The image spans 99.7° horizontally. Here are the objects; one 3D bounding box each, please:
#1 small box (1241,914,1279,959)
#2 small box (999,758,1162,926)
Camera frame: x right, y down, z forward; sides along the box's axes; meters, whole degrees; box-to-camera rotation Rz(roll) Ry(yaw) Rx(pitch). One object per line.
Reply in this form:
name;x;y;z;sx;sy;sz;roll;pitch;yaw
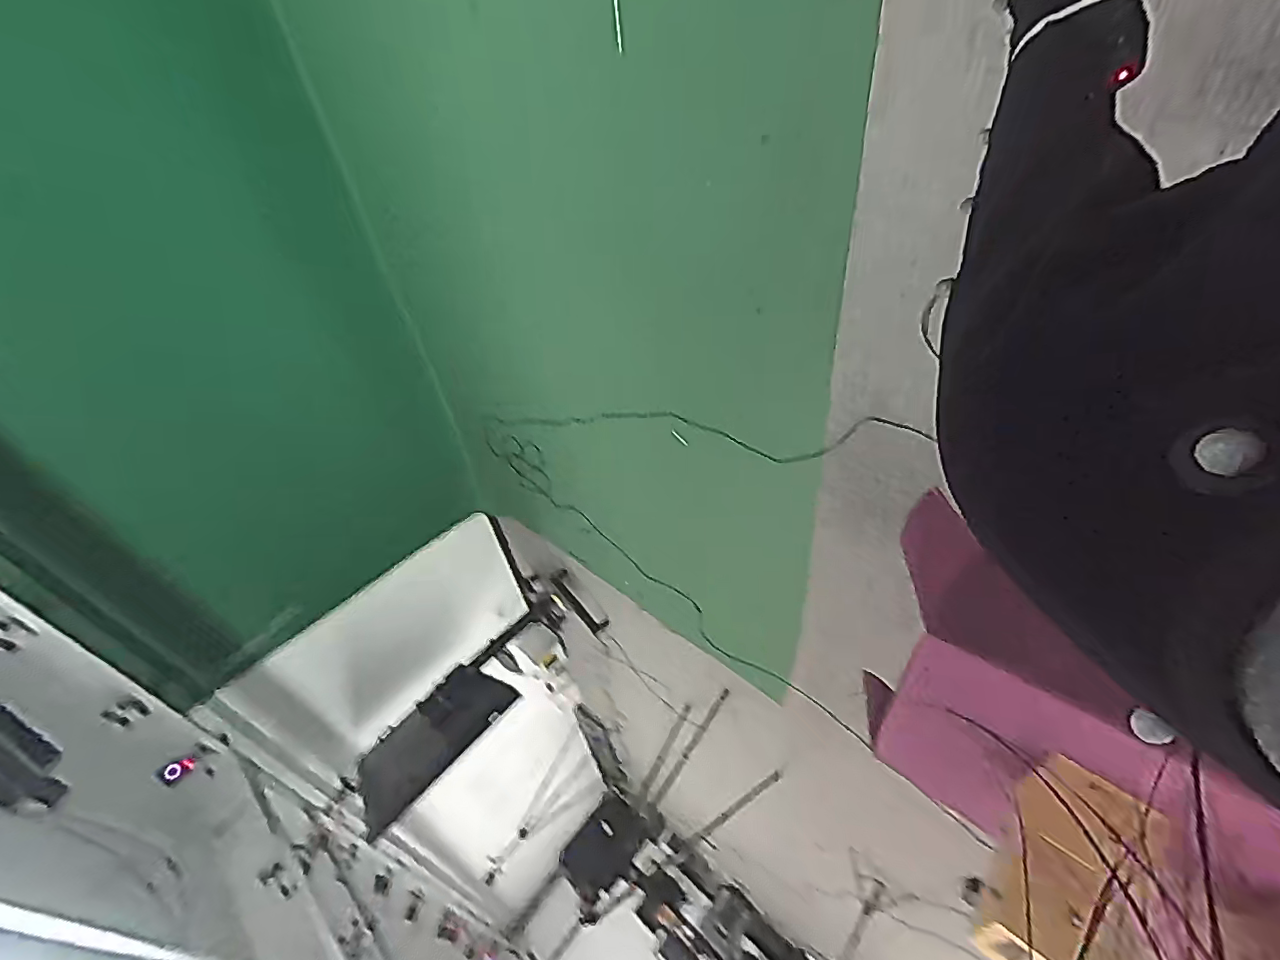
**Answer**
small box;1.036;0.774;0.789;0.179;0.176;0.168;28;143;33
small box;0.787;0.641;0.971;0.168;0.176;0.179;29;144;32
